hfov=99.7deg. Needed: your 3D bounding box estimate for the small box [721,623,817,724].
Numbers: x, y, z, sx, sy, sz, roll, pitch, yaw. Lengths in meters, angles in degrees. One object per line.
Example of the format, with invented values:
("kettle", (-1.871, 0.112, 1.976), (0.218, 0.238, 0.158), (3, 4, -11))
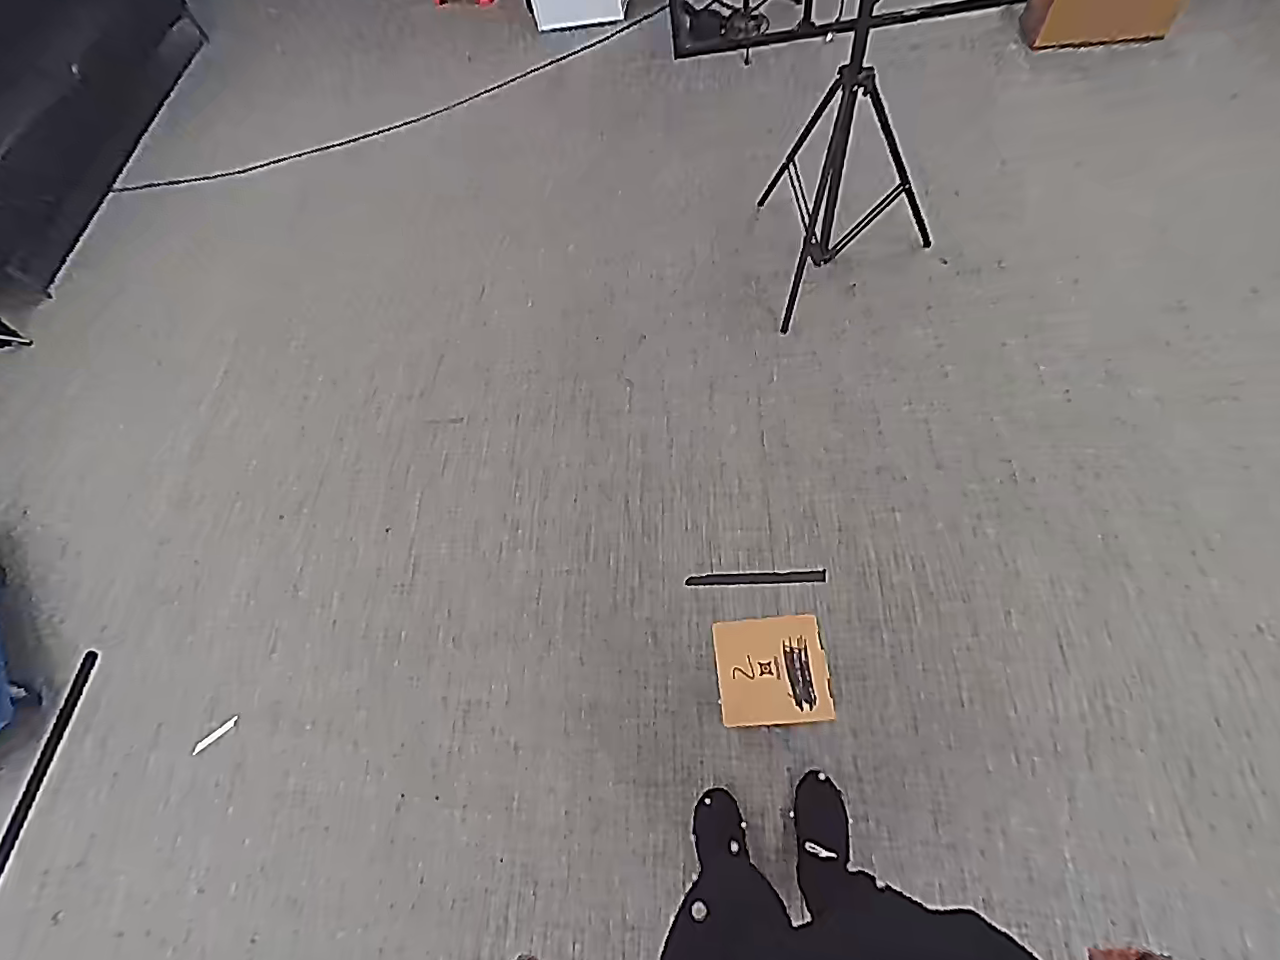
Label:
("small box", (0.251, 0.395, 1.092), (0.168, 0.176, 0.179), (-5, 65, 8))
